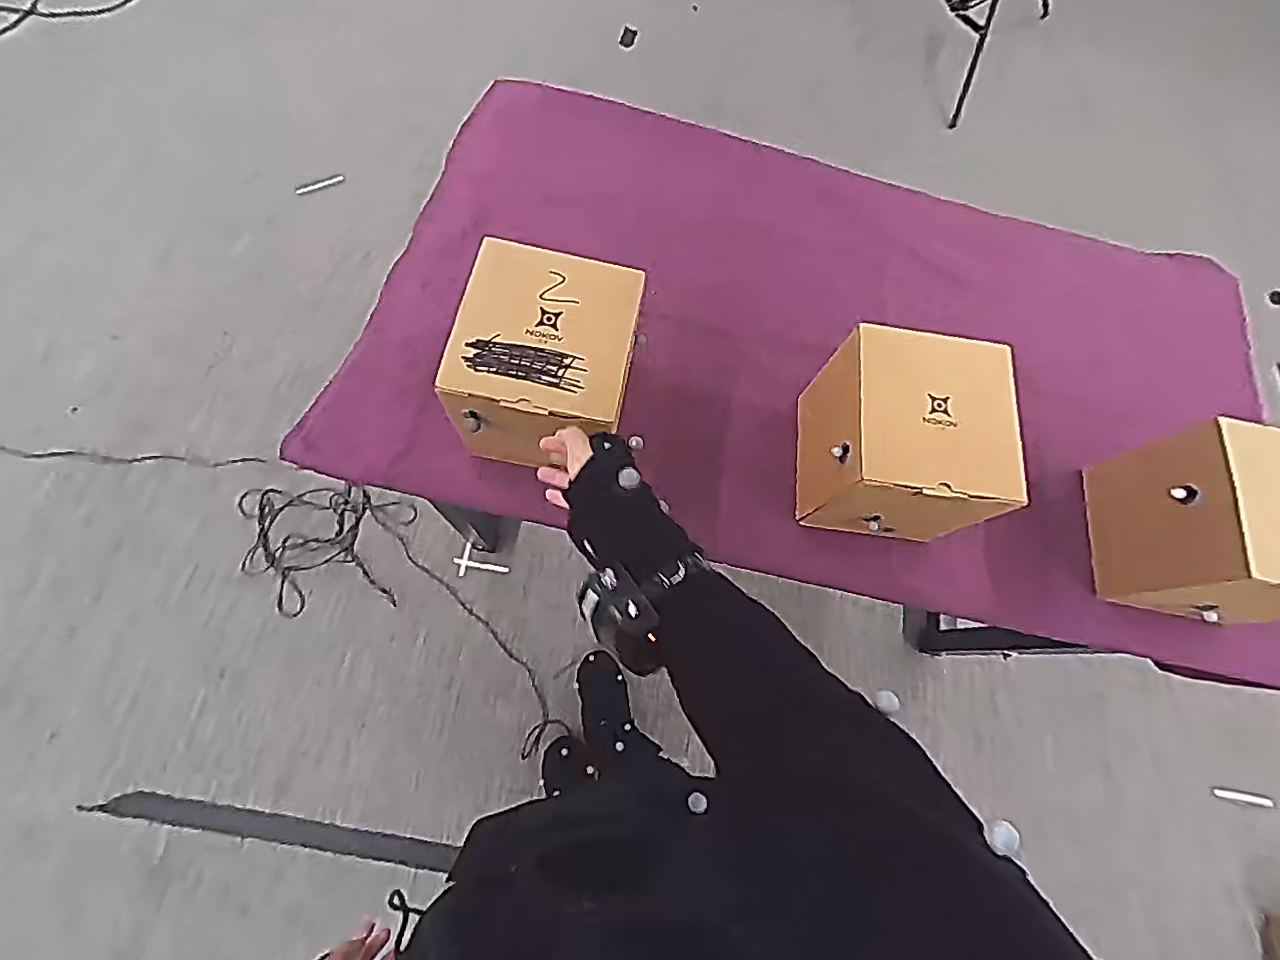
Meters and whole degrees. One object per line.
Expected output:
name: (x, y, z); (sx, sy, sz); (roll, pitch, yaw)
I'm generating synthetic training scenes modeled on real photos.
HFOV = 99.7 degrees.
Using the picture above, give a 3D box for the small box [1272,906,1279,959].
small box: (1.527, 1.052, 1.158); (0.179, 0.176, 0.168); (10, 72, -4)

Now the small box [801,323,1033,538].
small box: (0.290, -0.045, 0.606); (0.168, 0.176, 0.179); (7, 72, -4)

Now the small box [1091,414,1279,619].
small box: (0.661, 0.051, 0.613); (0.168, 0.176, 0.179); (11, 71, -1)
